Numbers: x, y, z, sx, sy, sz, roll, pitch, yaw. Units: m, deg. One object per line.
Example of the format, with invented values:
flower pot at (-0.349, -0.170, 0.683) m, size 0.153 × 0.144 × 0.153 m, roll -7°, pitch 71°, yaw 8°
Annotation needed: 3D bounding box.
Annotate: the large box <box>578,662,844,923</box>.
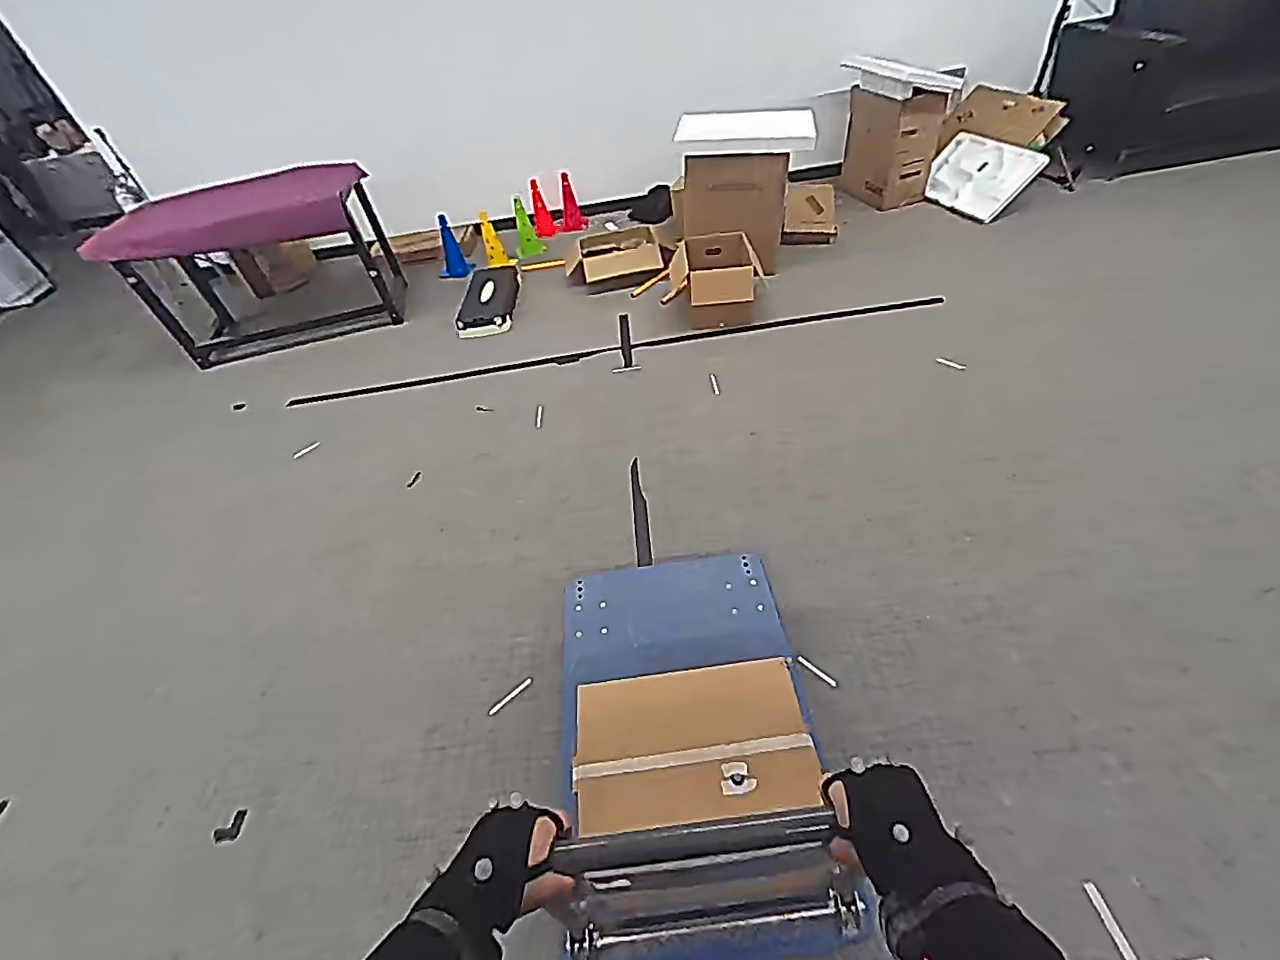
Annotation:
large box at (0.110, 0.584, 1.012) m, size 0.408 × 0.320 × 0.320 m, roll -8°, pitch 45°, yaw 0°
